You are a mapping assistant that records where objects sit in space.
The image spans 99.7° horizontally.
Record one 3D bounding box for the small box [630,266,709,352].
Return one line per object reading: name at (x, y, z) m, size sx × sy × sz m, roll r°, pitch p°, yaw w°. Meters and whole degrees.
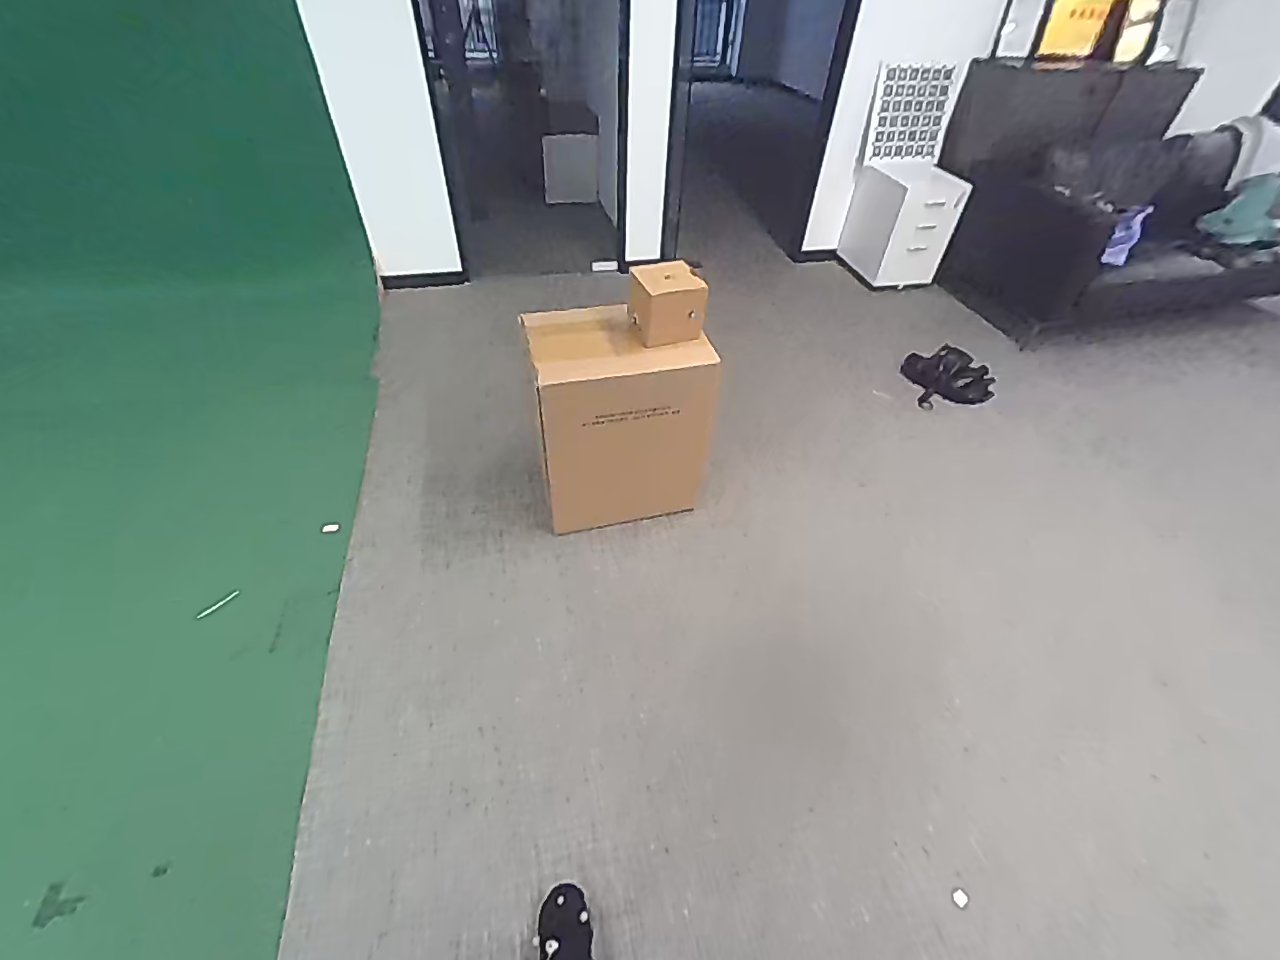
small box at (0.079, -0.501, 1.588) m, size 0.179 × 0.176 × 0.168 m, roll -17°, pitch 50°, yaw -17°
